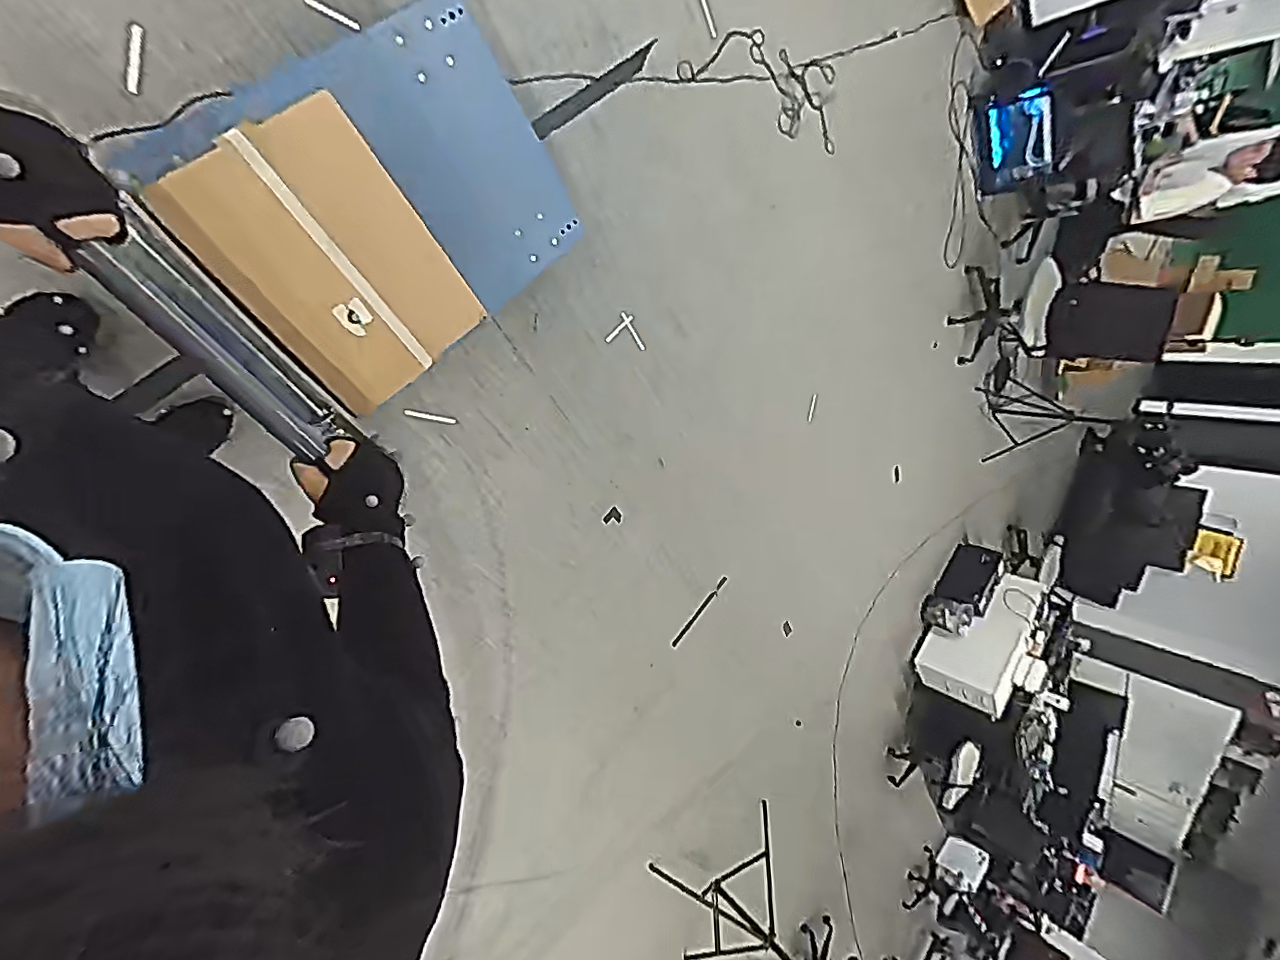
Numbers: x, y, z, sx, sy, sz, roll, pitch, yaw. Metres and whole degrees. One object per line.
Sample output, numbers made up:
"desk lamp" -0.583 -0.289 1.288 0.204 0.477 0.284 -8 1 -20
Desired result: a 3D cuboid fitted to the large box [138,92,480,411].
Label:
"large box" -0.591 -0.388 0.997 0.320 0.320 0.408 -48 129 -20
